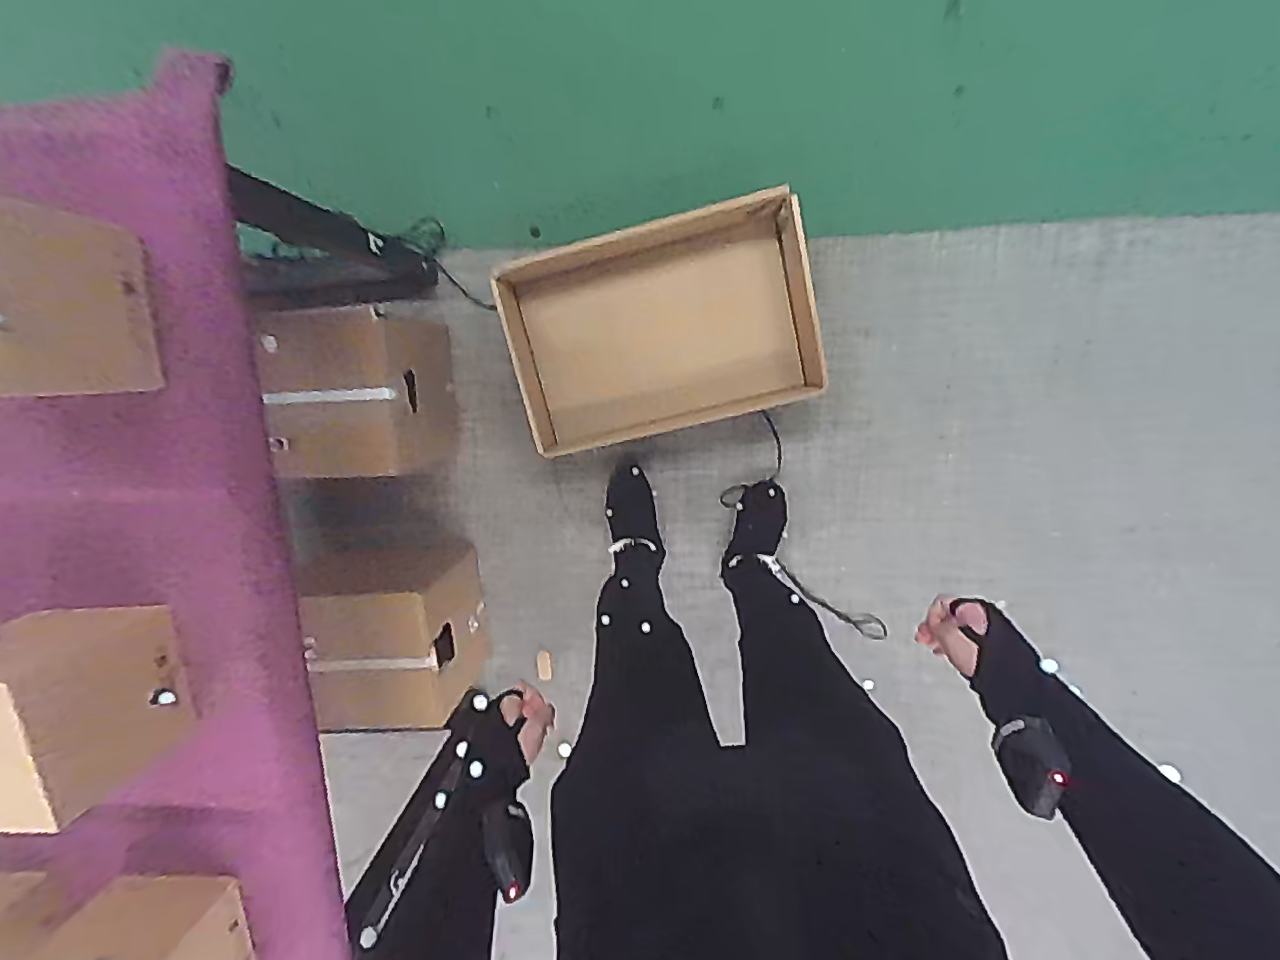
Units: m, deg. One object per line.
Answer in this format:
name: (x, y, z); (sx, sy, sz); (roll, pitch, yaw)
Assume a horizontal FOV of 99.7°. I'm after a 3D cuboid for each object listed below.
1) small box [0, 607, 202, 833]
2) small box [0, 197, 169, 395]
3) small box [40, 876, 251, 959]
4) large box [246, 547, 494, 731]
small box: (-0.646, 0.250, 0.597); (0.179, 0.176, 0.168); (-3, 101, 5)
small box: (-0.612, -0.166, 0.513); (0.179, 0.176, 0.168); (1, 103, 6)
small box: (-0.621, 0.628, 0.665); (0.179, 0.176, 0.168); (-3, 100, 6)
large box: (-0.609, 0.362, 1.290); (0.408, 0.320, 0.320); (-4, 100, 6)
